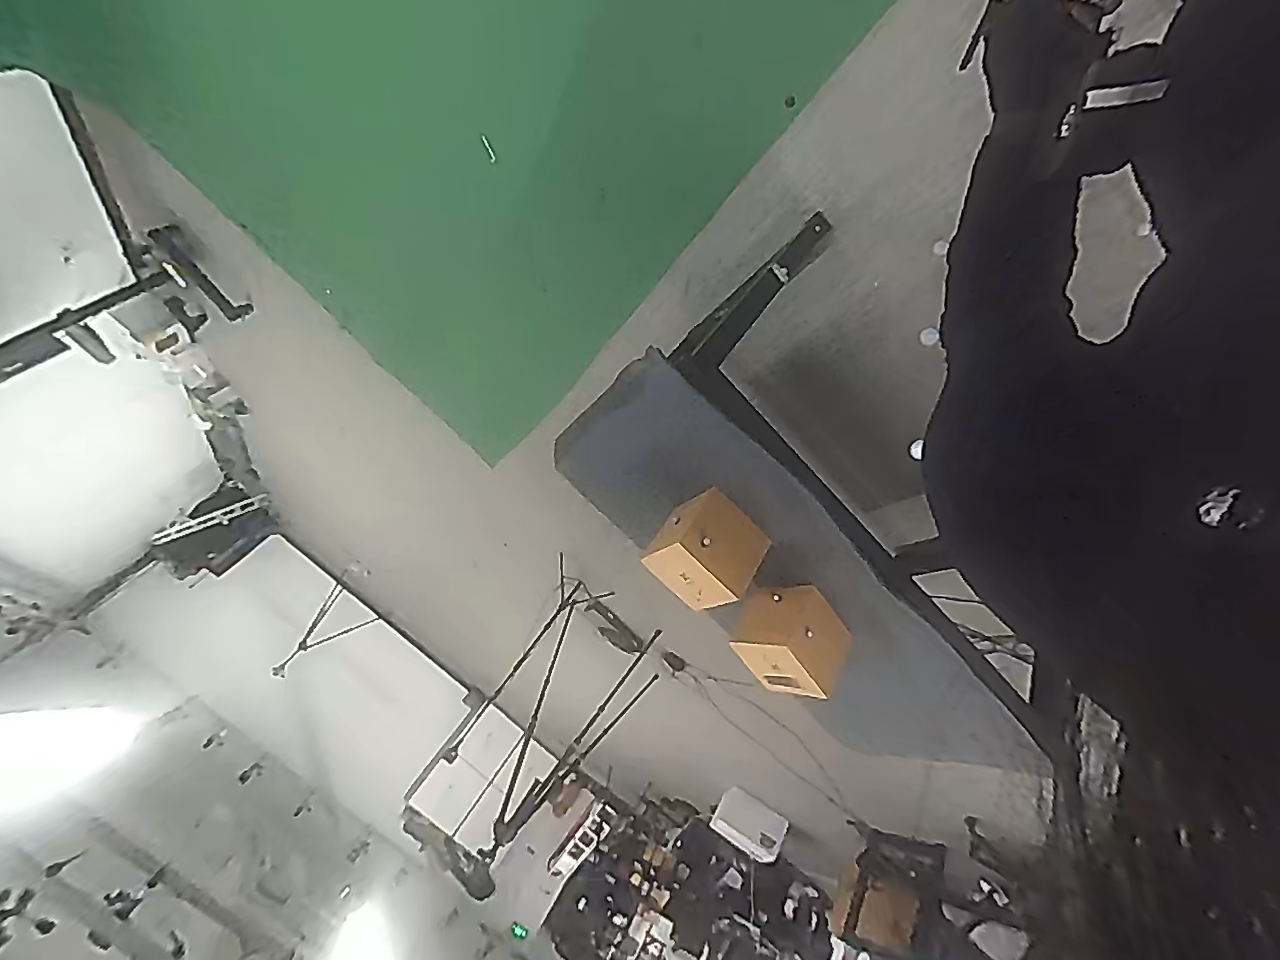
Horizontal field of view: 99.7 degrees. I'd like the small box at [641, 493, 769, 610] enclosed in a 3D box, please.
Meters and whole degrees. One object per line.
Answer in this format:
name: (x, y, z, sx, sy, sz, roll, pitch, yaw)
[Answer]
small box: (0.140, 0.148, 1.157, 0.179, 0.176, 0.168, 43, 146, -8)
